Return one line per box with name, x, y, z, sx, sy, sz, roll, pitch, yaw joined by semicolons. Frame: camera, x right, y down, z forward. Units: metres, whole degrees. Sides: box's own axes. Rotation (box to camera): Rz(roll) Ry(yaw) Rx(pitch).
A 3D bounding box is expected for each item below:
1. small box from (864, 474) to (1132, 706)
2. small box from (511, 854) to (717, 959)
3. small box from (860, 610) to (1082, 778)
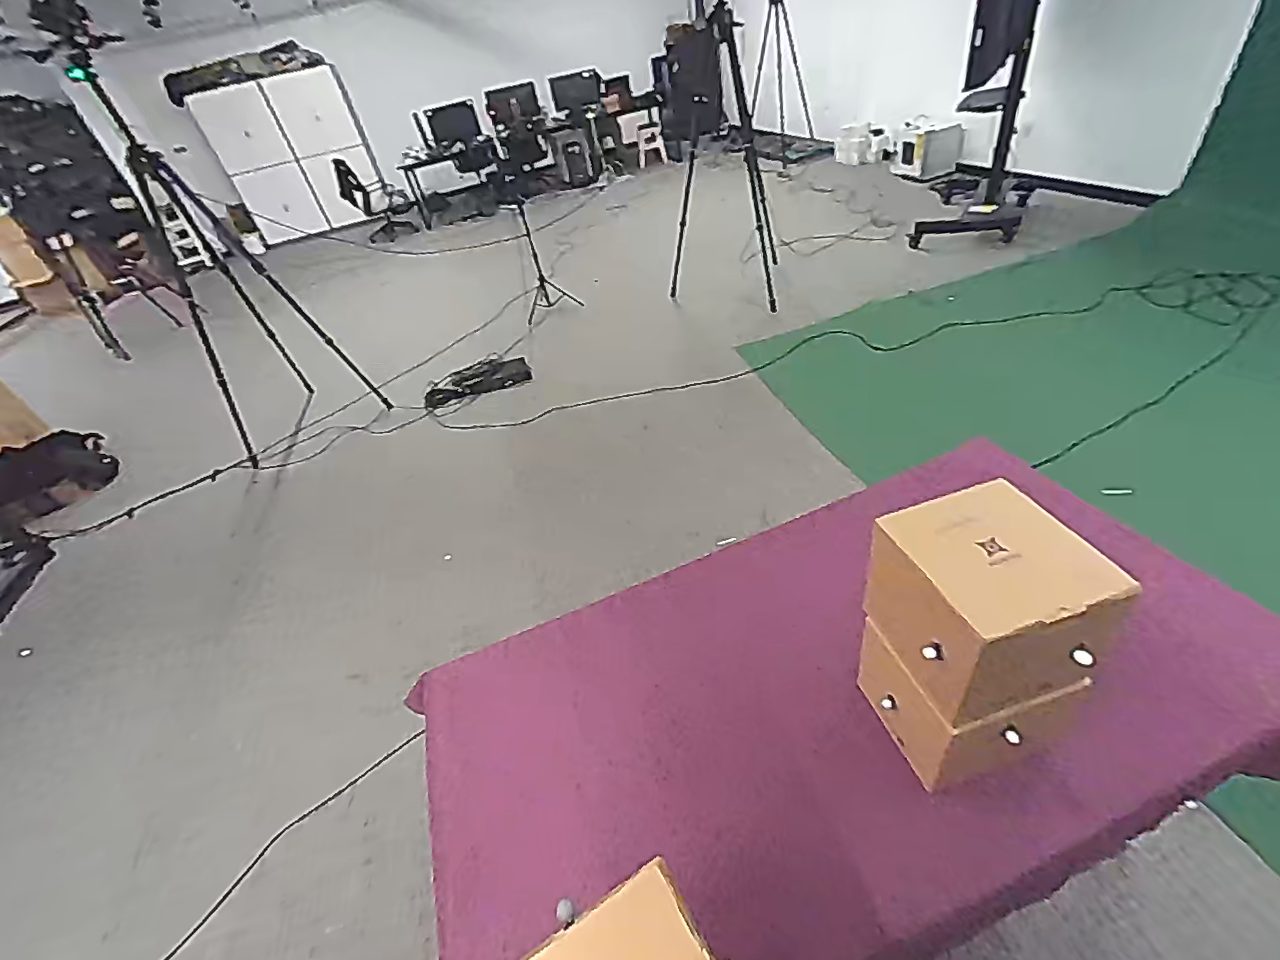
small box;0.374;0.127;0.607;0.168;0.176;0.179;-17;39;-4
small box;-0.015;0.428;0.418;0.179;0.176;0.168;-28;59;-16
small box;0.408;0.254;0.704;0.179;0.176;0.168;-18;40;-4
